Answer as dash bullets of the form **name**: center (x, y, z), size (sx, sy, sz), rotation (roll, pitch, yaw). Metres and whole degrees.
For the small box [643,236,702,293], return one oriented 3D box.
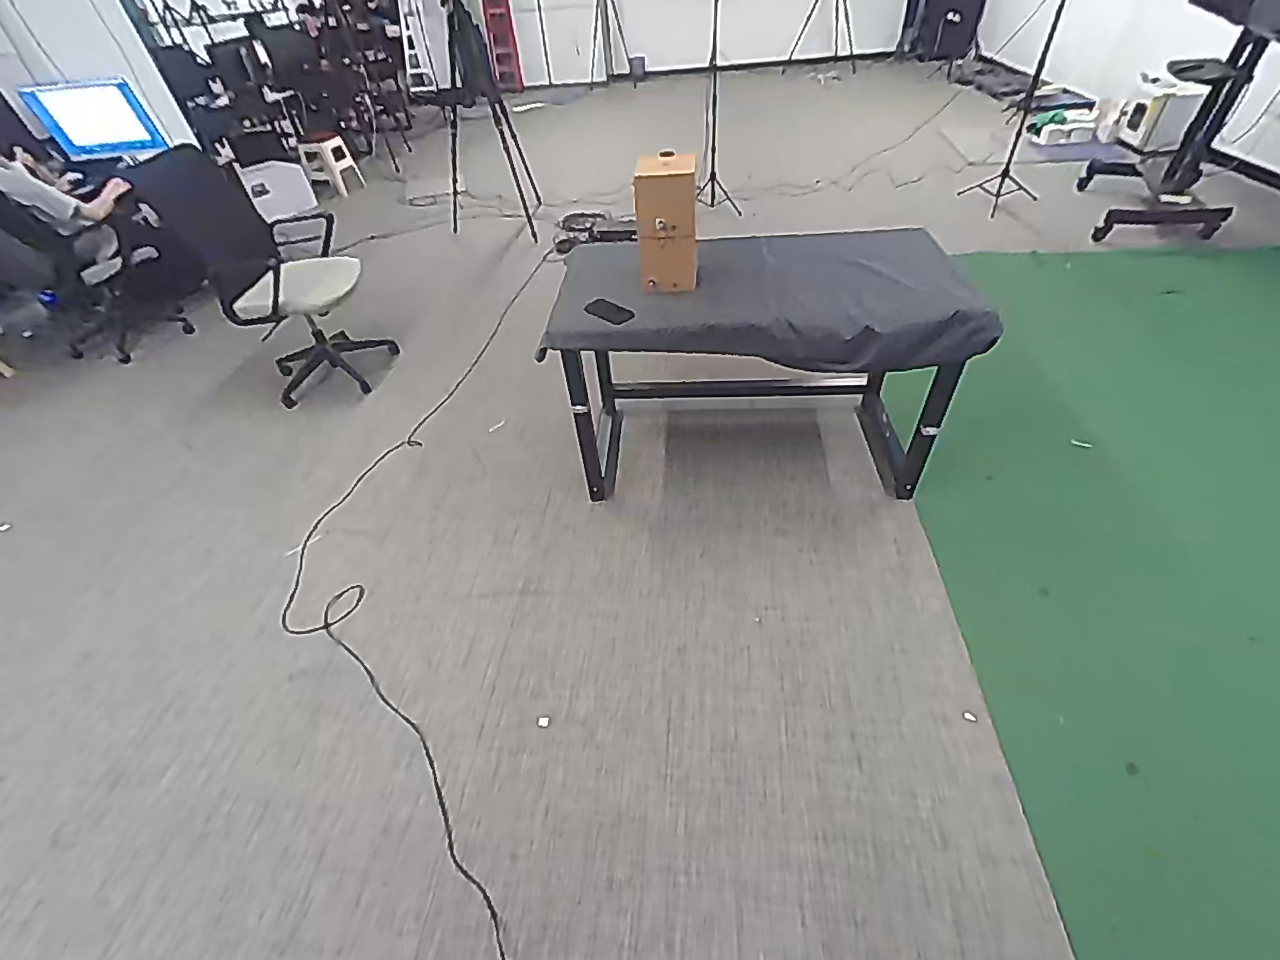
- **small box**: center (0.106, -0.687, 1.657), size (0.168, 0.176, 0.179), rotation (2, 44, 7)

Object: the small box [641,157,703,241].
- **small box**: center (0.096, -0.799, 1.541), size (0.168, 0.176, 0.179), rotation (0, 45, 7)
